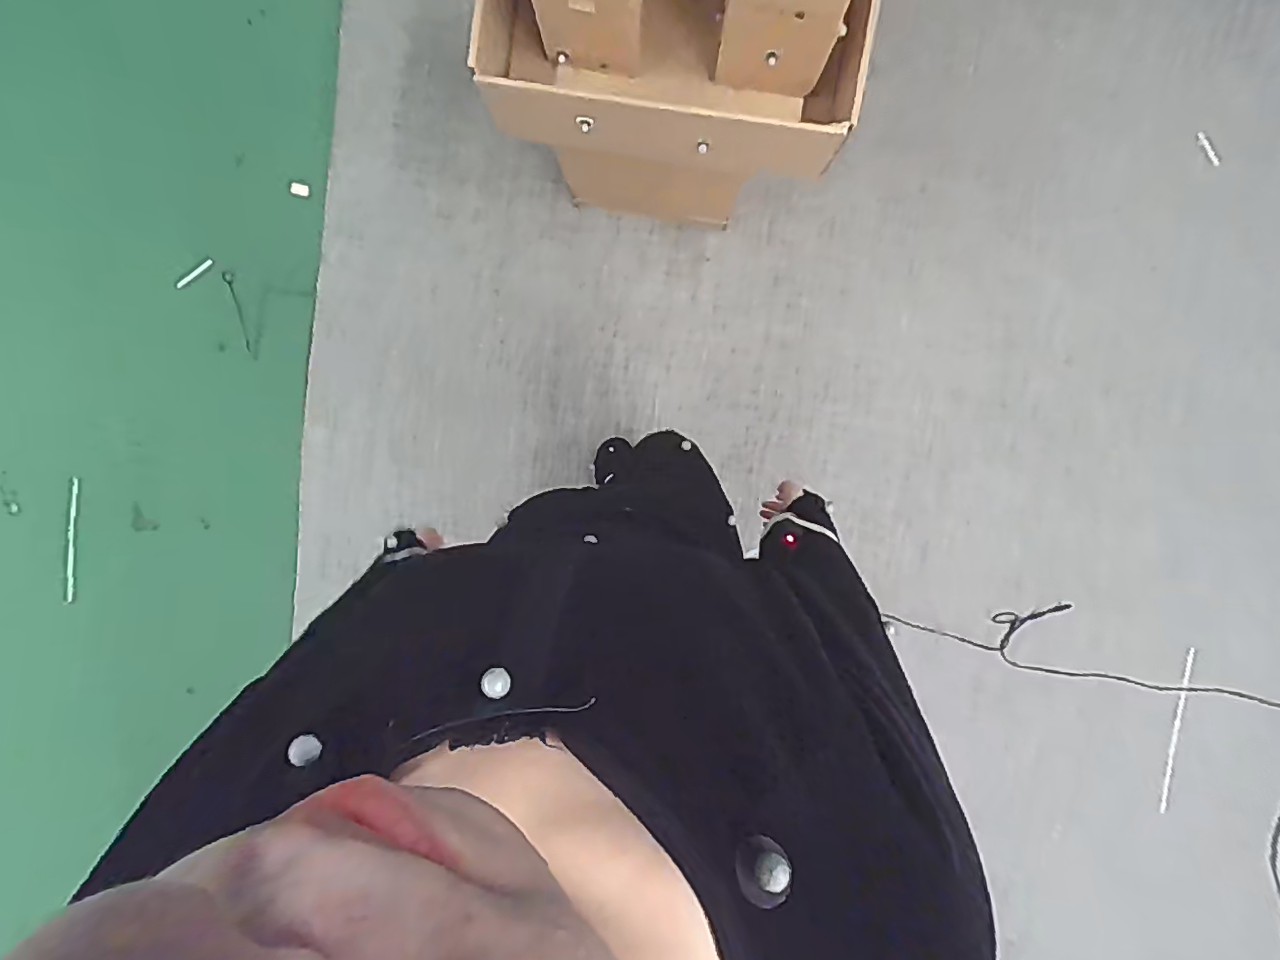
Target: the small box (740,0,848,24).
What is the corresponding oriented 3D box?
[{"bbox_3d":[0.221,-0.750,0.704,0.168,0.176,0.179,10,95,1],"label":"small box"}]
